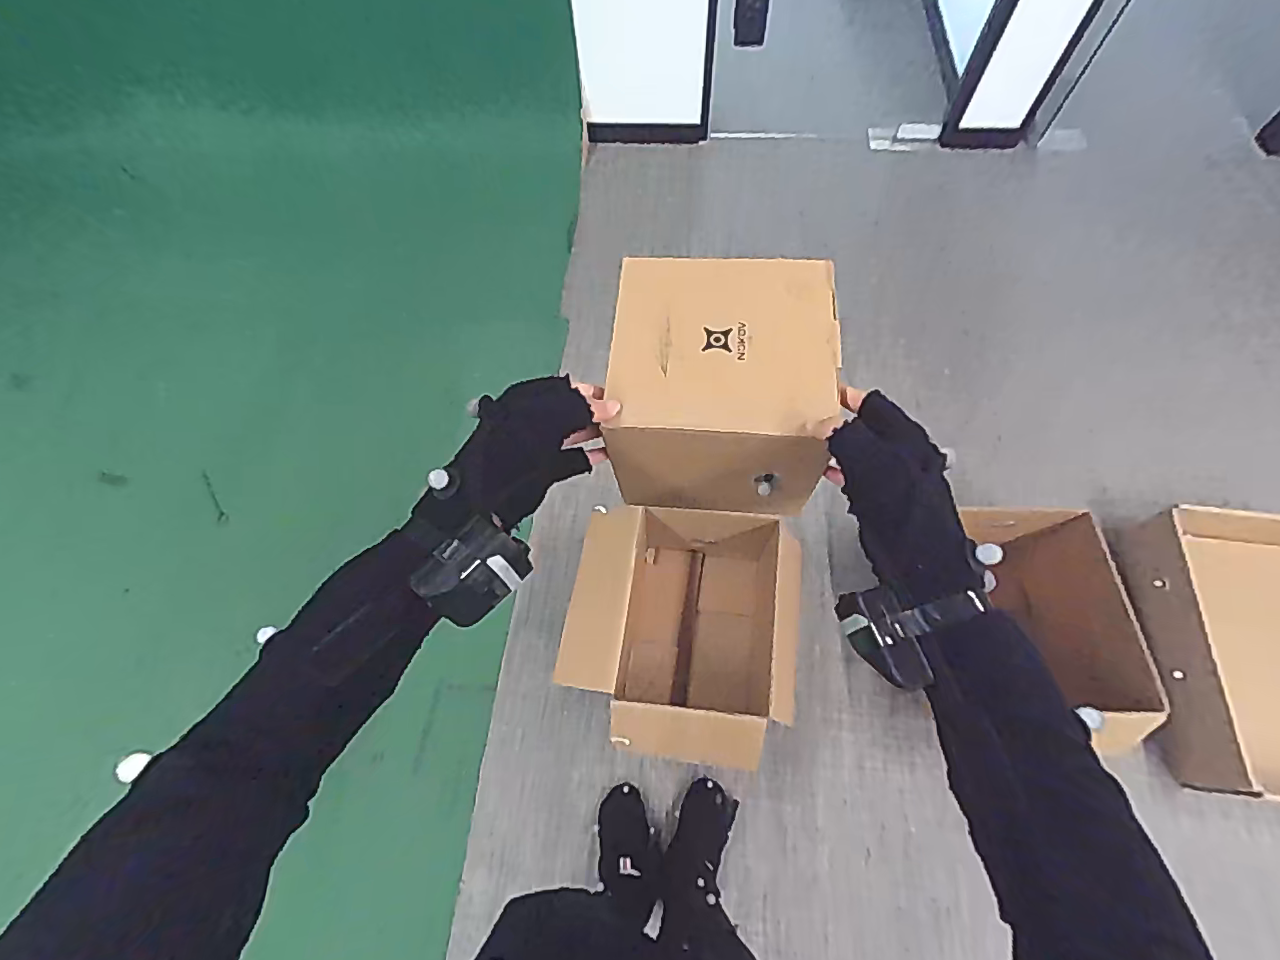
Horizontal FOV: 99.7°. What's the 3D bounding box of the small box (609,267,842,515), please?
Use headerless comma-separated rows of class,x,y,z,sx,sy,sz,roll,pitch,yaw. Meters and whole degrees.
small box,0.076,-0.073,0.507,0.179,0.176,0.168,3,65,6
